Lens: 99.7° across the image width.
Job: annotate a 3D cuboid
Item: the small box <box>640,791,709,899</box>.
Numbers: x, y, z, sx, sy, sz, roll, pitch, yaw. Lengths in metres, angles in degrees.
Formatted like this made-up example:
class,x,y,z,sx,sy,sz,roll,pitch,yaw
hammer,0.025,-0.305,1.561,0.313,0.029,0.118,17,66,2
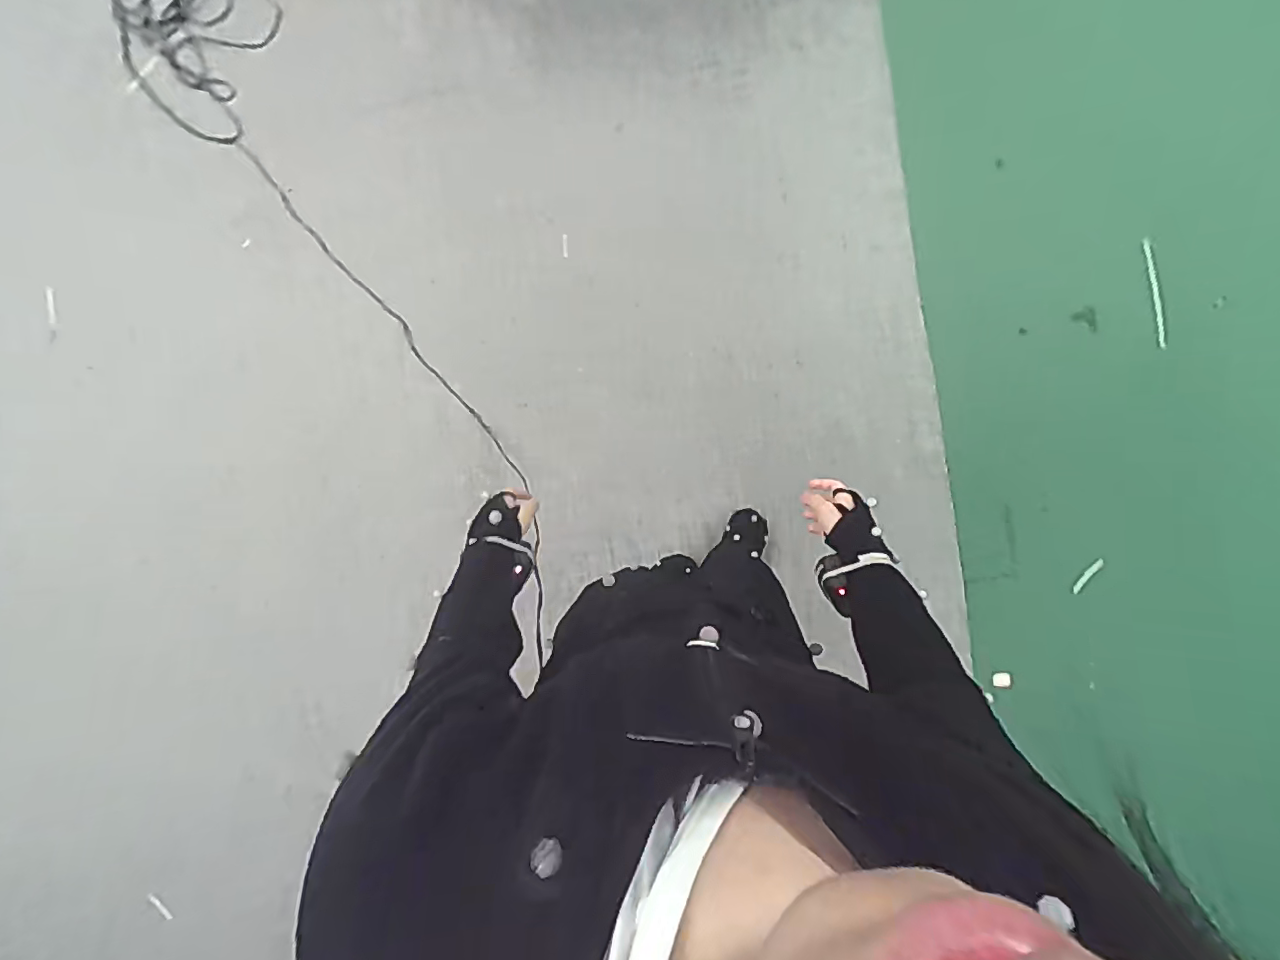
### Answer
class,x,y,z,sx,sy,sz,roll,pitch,yaw
small box,0.086,0.938,1.400,0.168,0.176,0.179,-3,86,0
